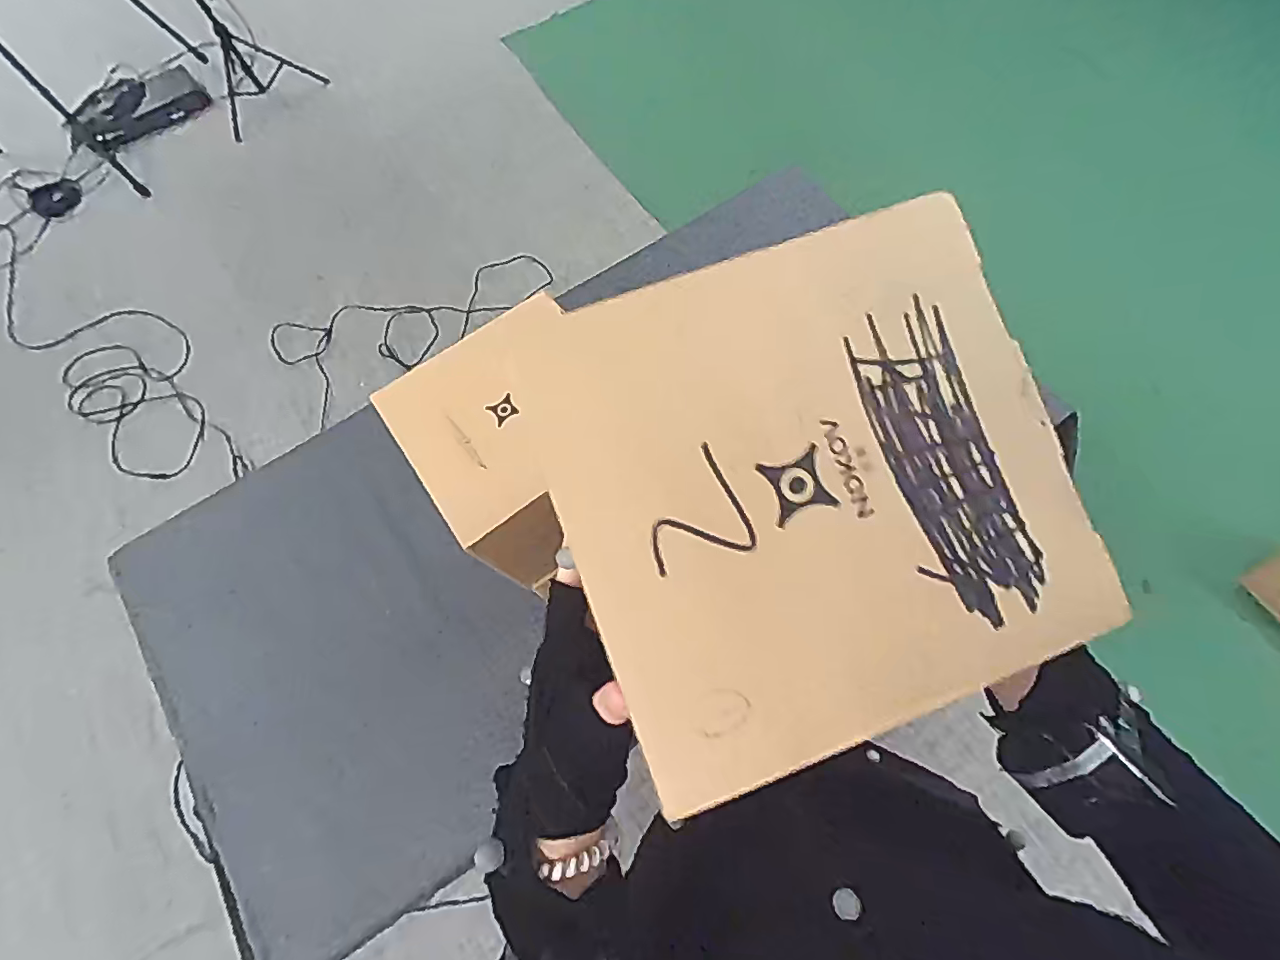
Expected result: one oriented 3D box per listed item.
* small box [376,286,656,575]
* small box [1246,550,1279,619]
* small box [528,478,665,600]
[{"bbox_3d":[-0.100,-0.036,0.509,0.179,0.176,0.168,-35,69,-9],"label":"small box"},{"bbox_3d":[1.580,0.238,1.242,0.179,0.176,0.168,-28,69,-7],"label":"small box"},{"bbox_3d":[-0.083,0.024,0.660,0.168,0.176,0.179,-32,70,-8],"label":"small box"}]
